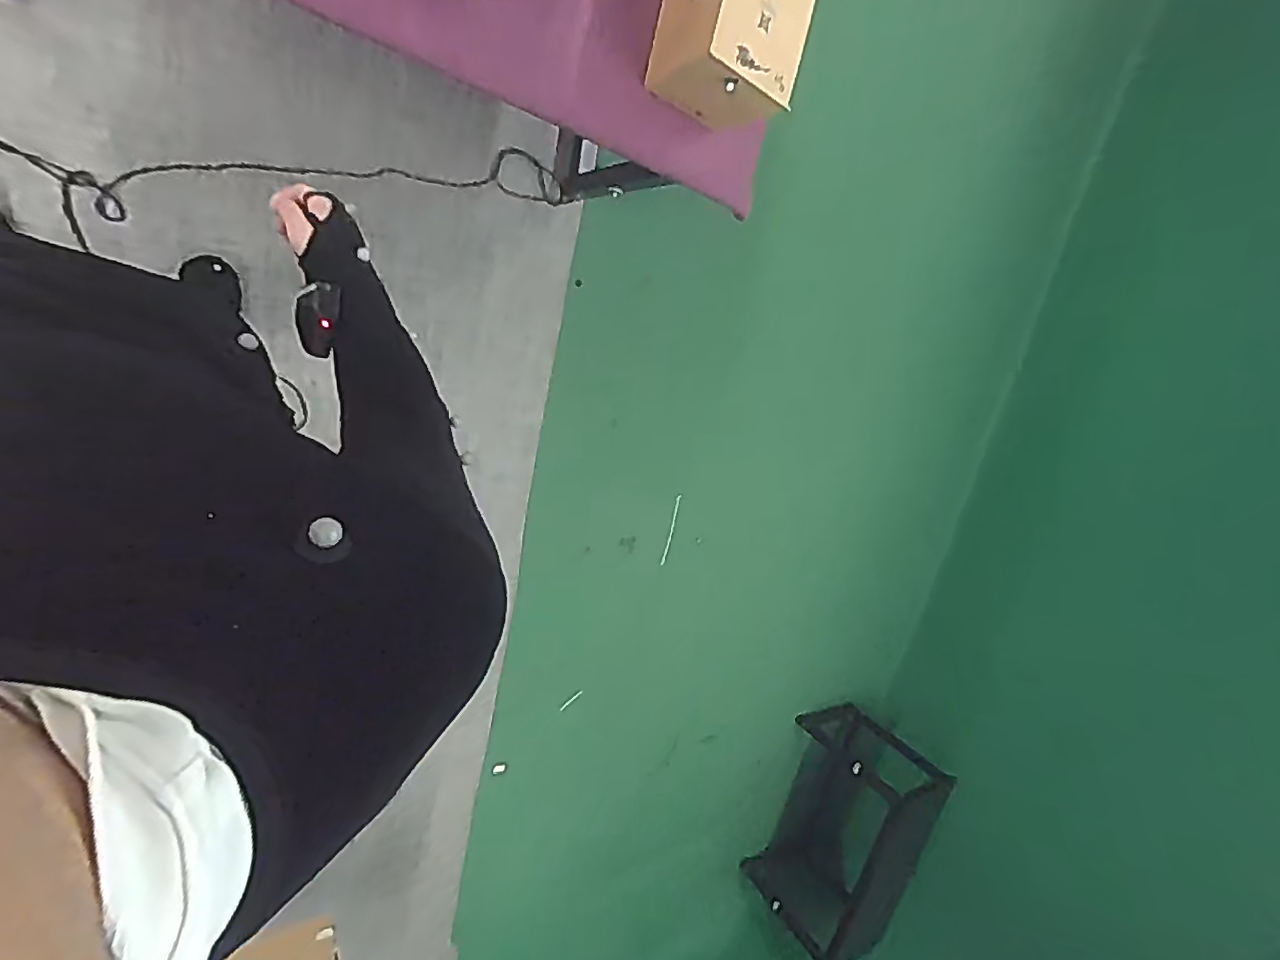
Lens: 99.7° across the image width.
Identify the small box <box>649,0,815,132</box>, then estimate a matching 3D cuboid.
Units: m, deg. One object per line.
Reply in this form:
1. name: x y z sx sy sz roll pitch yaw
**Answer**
1. small box: 0.135 -0.681 0.836 0.168 0.176 0.179 6 103 -36
